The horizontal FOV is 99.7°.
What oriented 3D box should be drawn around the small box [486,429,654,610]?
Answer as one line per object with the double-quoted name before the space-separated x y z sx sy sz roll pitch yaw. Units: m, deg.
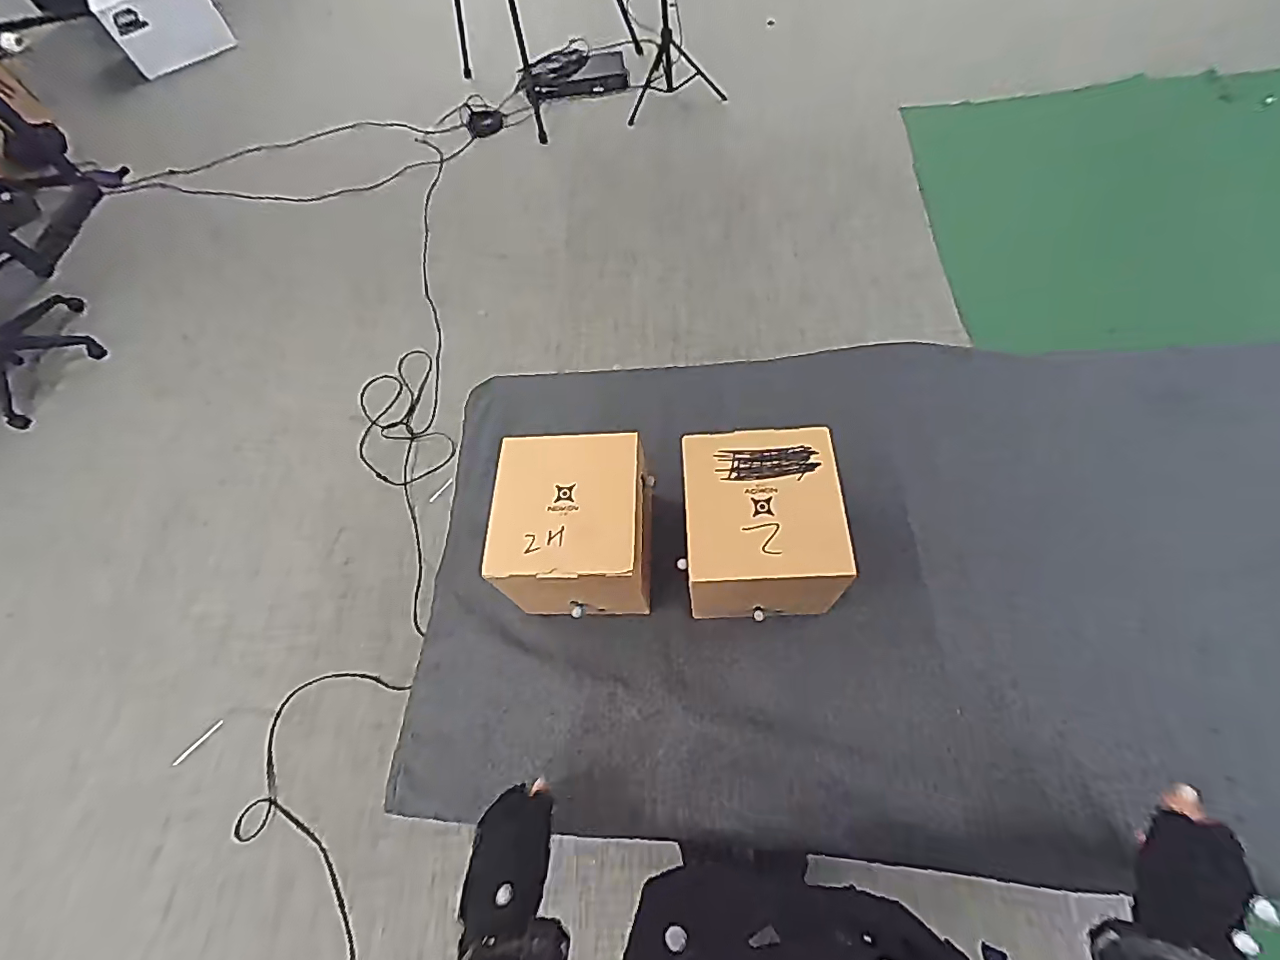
"small box" -0.073 0.055 0.676 0.168 0.176 0.179 -2 63 7
